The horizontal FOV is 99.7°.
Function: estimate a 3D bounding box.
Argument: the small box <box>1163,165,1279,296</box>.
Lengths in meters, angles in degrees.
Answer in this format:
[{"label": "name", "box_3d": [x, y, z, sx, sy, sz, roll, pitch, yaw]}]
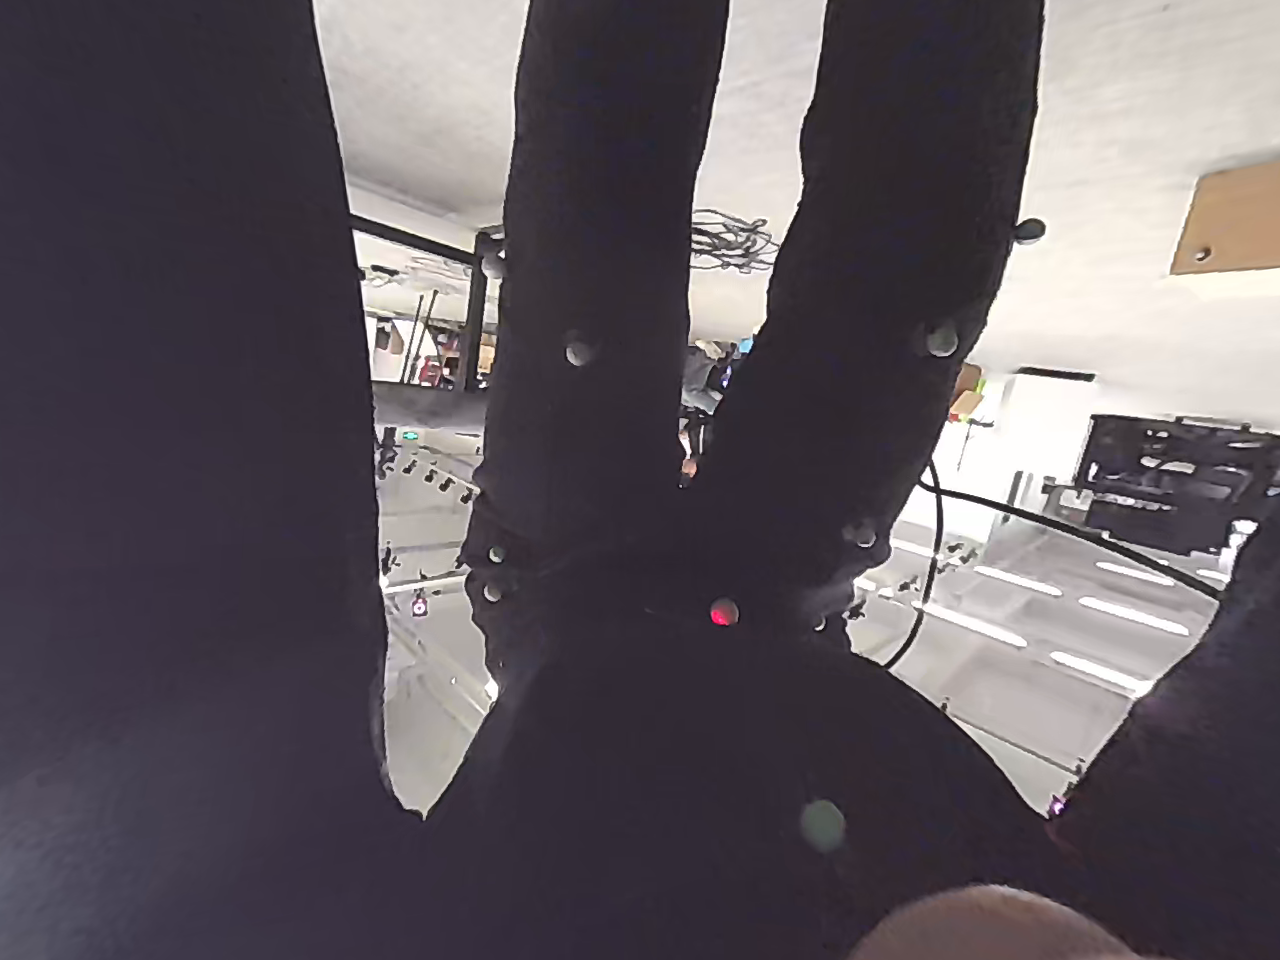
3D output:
[{"label": "small box", "box_3d": [1.037, -0.414, 0.898, 0.168, 0.176, 0.179, 4, -167, -28]}]
